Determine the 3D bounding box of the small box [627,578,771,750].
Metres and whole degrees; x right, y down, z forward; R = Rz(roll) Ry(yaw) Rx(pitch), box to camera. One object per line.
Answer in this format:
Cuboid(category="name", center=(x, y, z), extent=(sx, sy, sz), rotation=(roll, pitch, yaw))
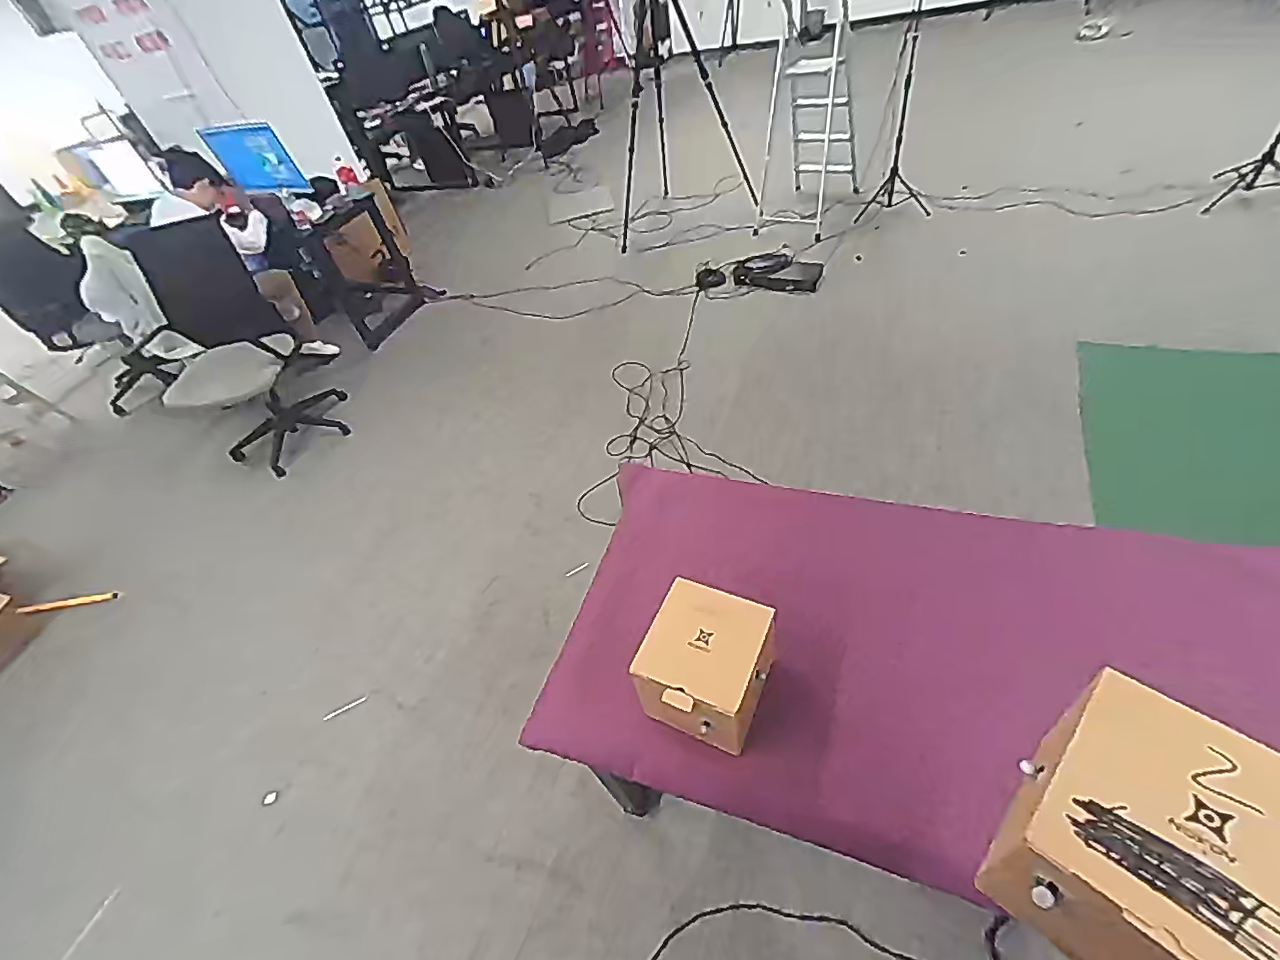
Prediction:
Cuboid(category="small box", center=(0.103, 0.291, 0.854), extent=(0.168, 0.176, 0.179), rotation=(15, 51, 25))
